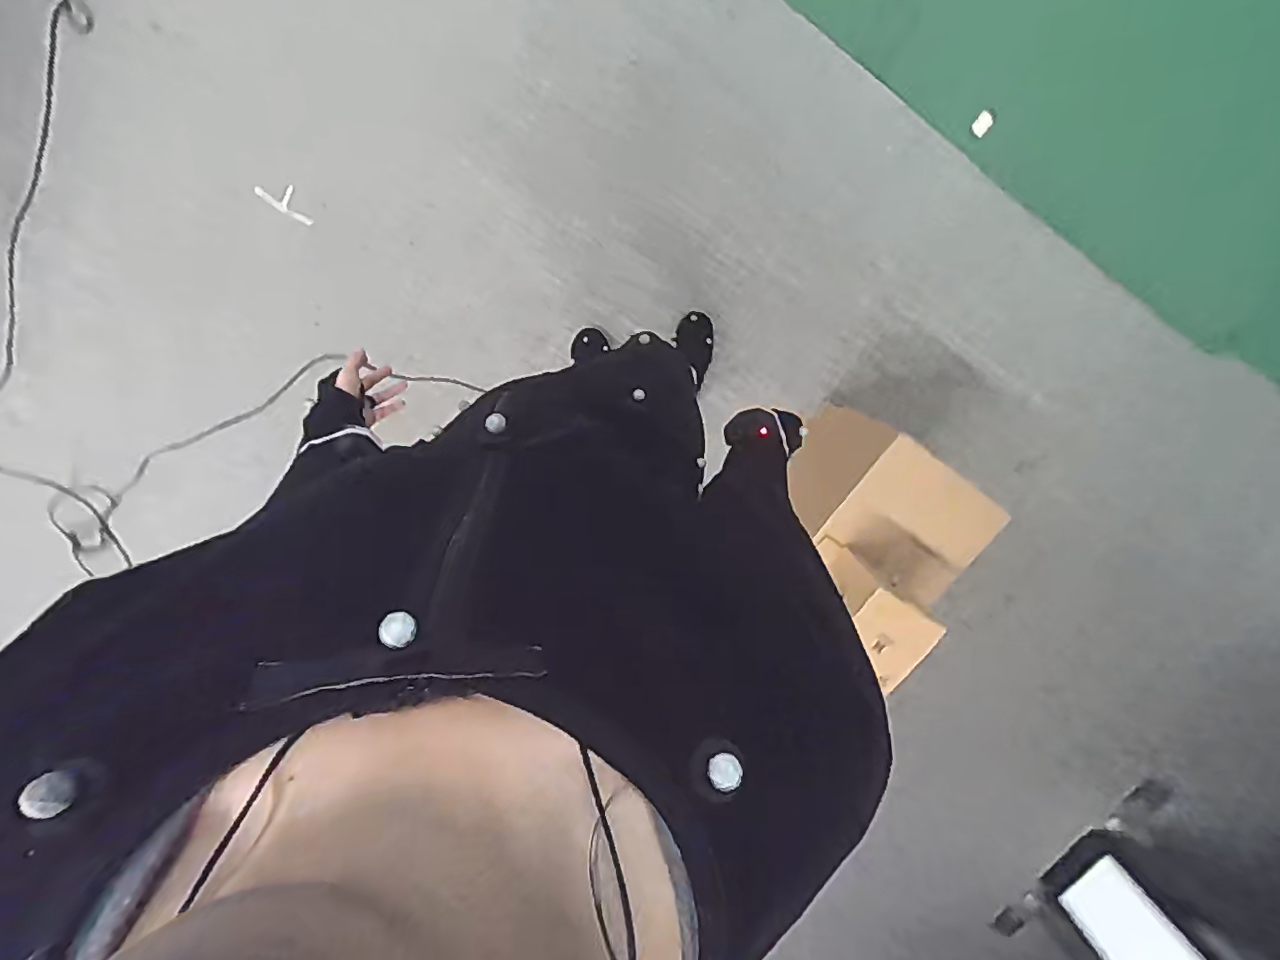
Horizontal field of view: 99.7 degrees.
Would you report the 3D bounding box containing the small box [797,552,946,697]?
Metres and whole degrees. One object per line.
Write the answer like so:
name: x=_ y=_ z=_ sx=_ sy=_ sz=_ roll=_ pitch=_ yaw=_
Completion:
small box: x=0.433 y=0.270 z=1.047 sx=0.168 sy=0.176 sz=0.179 roll=33 pitch=103 yaw=-9
